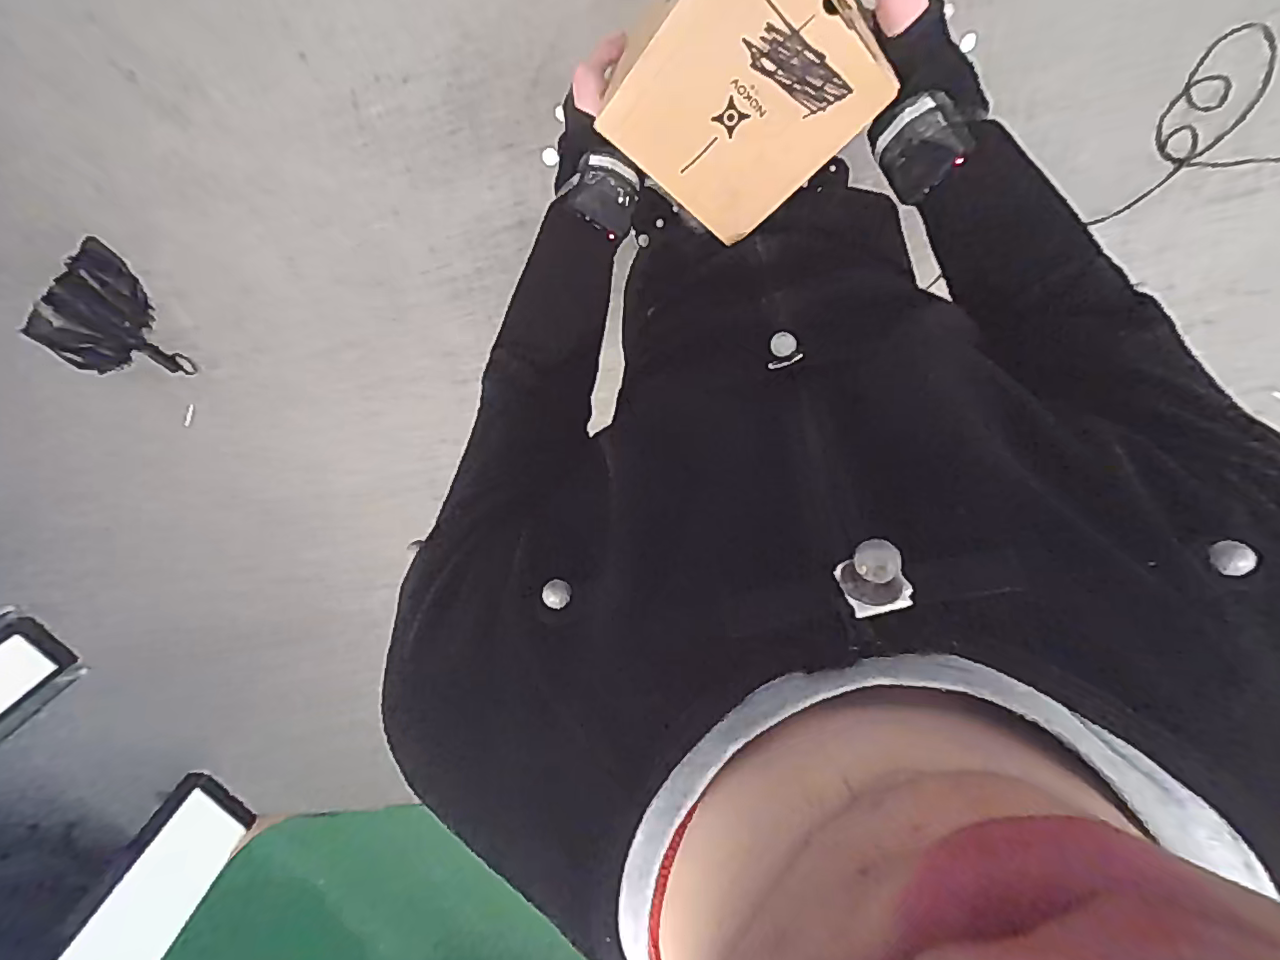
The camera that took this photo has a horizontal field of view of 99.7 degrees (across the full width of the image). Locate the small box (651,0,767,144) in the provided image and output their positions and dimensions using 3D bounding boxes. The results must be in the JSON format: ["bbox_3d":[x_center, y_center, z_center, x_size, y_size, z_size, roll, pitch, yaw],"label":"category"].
[{"bbox_3d":[0.140,-0.825,1.117,0.168,0.176,0.179,27,120,-10],"label":"small box"}]
